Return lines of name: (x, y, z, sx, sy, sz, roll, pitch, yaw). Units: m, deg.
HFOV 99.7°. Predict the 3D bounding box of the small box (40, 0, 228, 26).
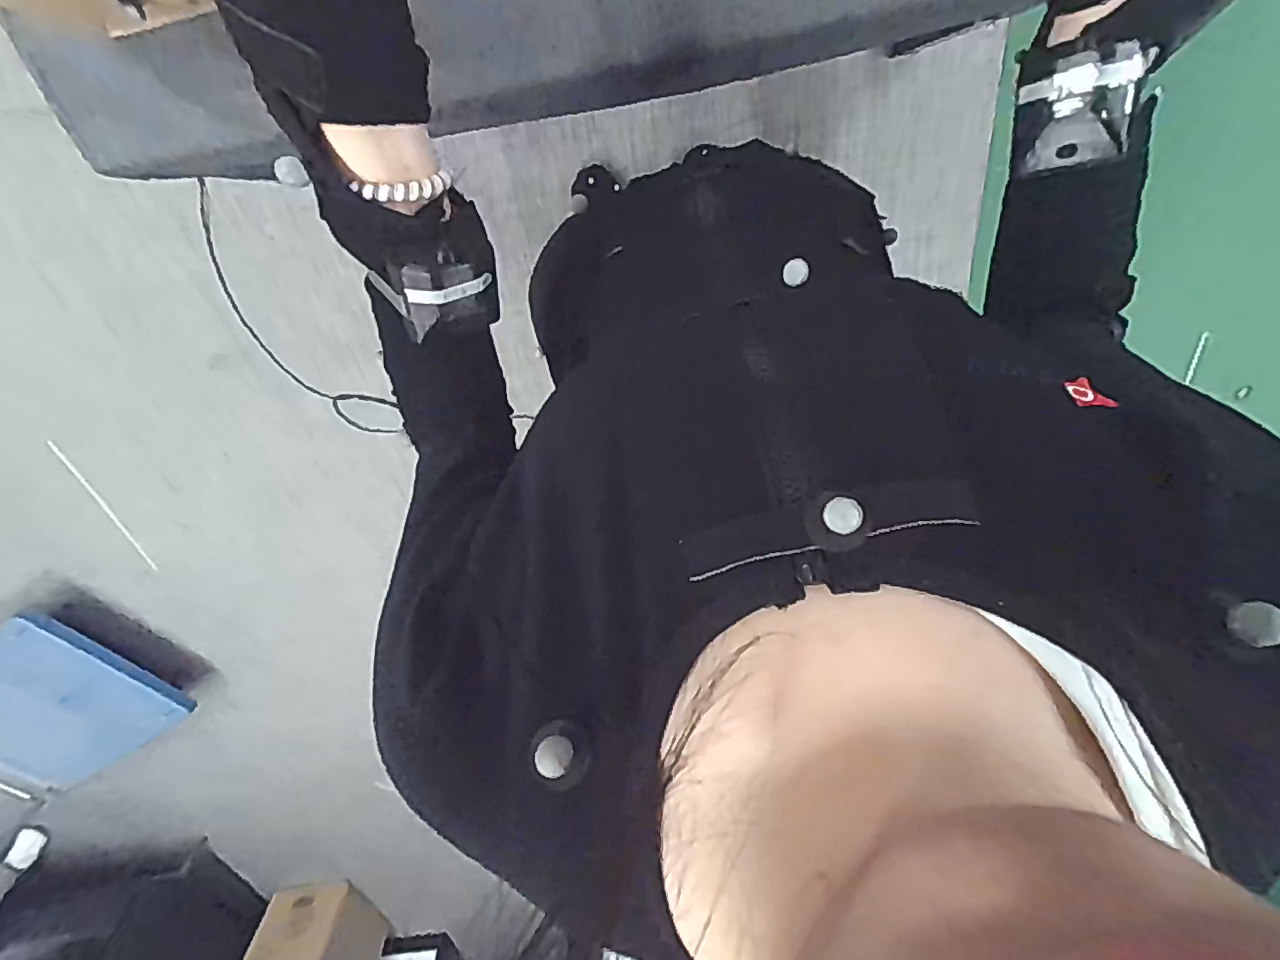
small box: (-0.439, -0.474, 0.393, 0.168, 0.176, 0.179, -11, 120, 4)
